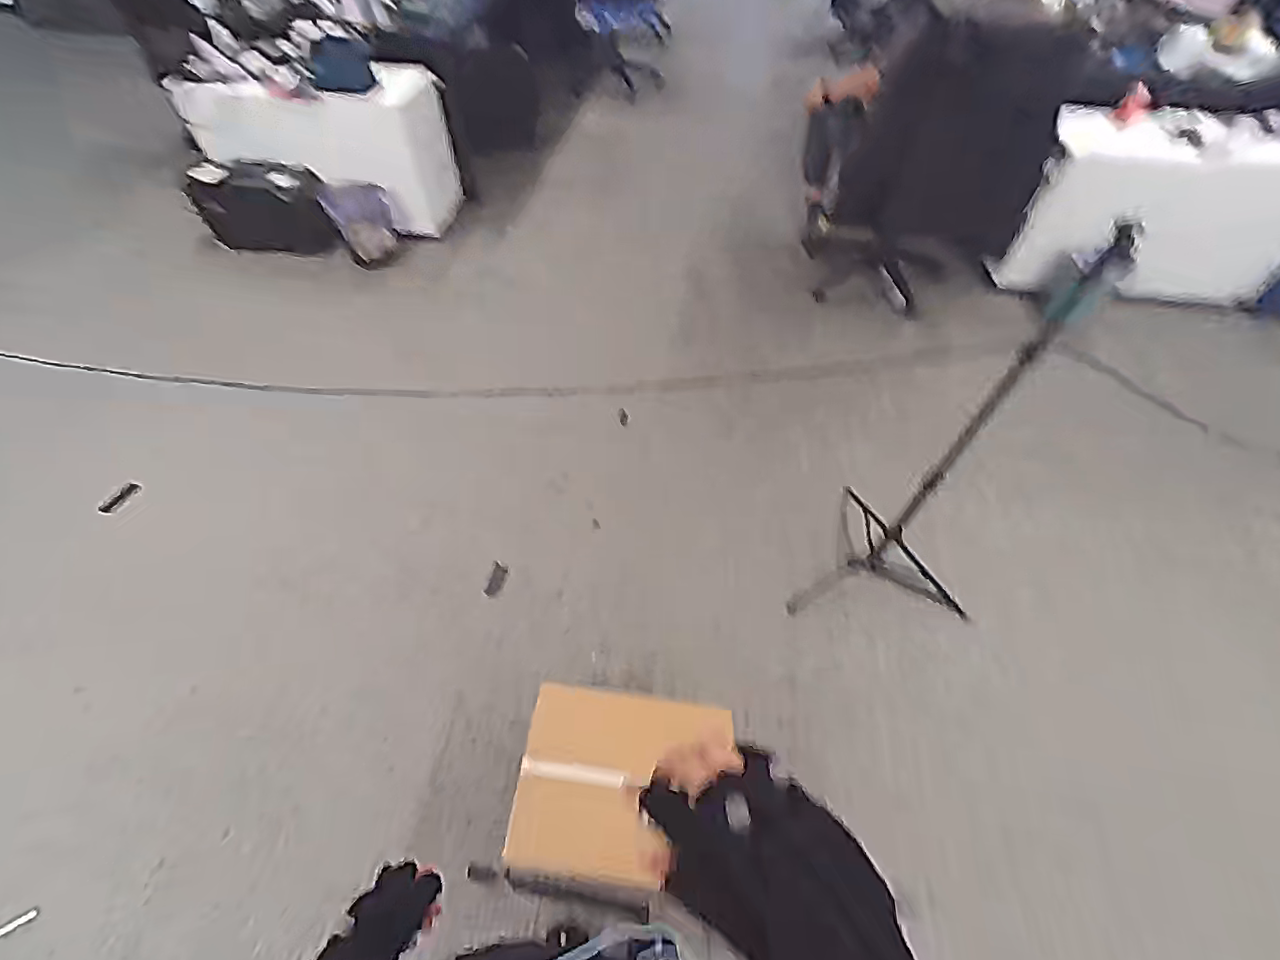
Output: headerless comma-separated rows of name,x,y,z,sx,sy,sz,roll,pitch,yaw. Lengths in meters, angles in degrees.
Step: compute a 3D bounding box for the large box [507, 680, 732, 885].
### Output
large box,-0.031,0.650,1.154,0.408,0.320,0.320,7,54,3
